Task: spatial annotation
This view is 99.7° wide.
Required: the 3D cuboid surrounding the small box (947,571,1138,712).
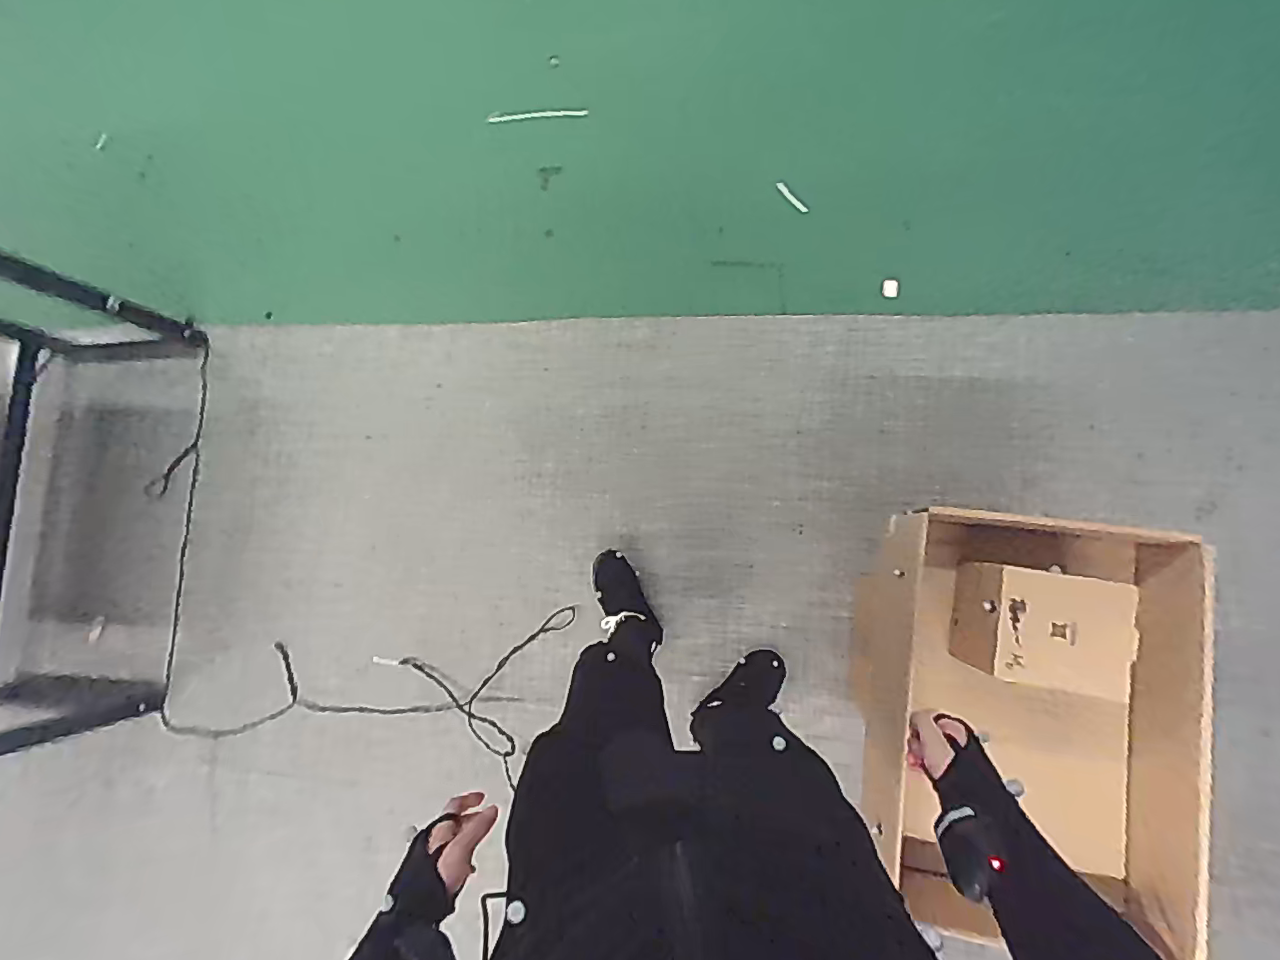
[{"bbox_3d":[0.613,0.238,0.843,0.179,0.176,0.168,9,84,10],"label":"small box"}]
